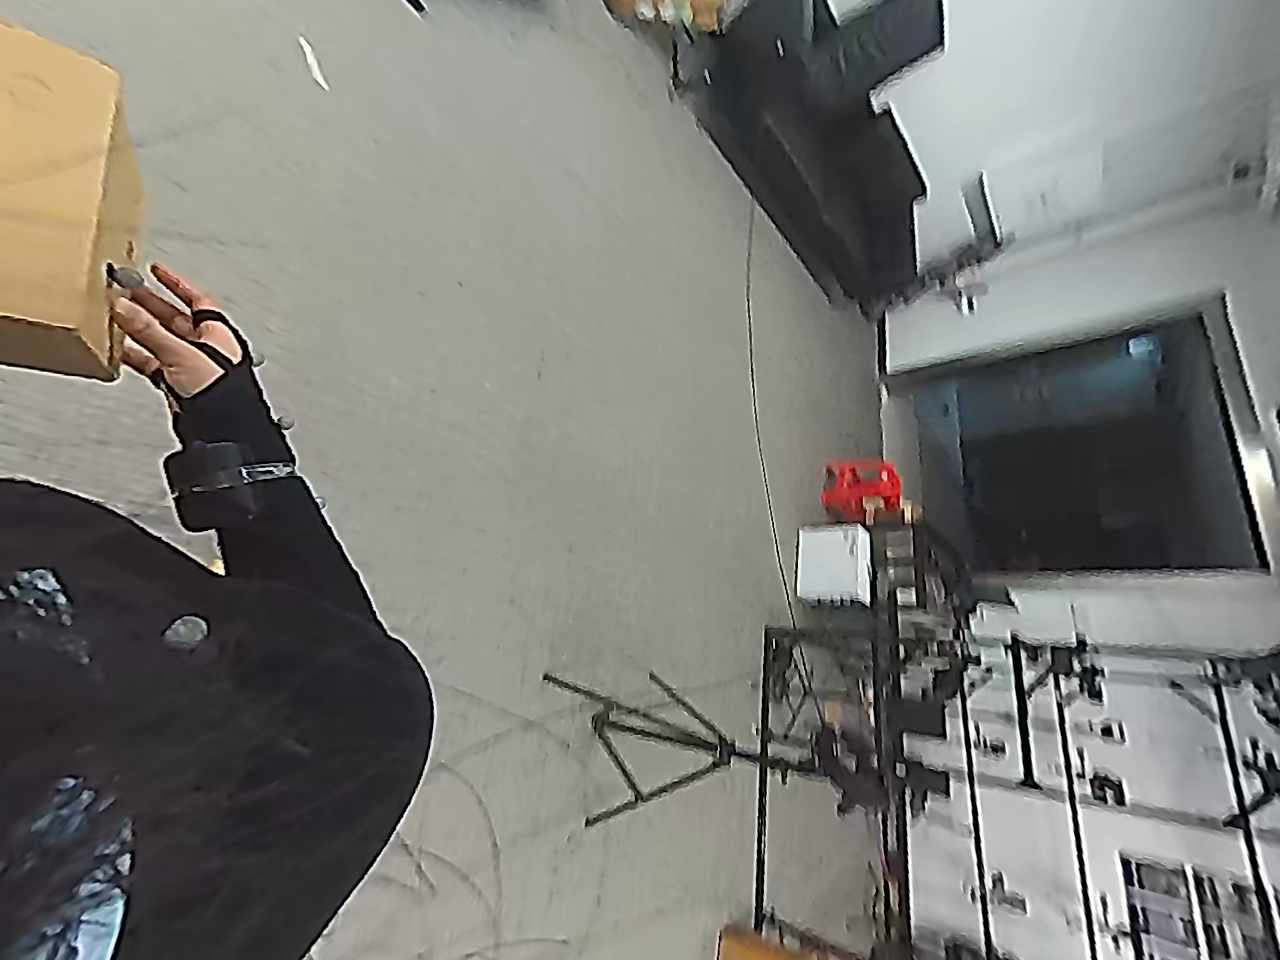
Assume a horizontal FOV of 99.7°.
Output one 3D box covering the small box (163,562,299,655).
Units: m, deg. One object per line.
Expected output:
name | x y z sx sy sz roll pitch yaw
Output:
small box | -0.899 0.284 1.187 0.179 0.176 0.168 30 61 -44

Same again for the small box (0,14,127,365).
small box | -0.442 -0.176 0.324 0.179 0.176 0.168 6 84 -37
